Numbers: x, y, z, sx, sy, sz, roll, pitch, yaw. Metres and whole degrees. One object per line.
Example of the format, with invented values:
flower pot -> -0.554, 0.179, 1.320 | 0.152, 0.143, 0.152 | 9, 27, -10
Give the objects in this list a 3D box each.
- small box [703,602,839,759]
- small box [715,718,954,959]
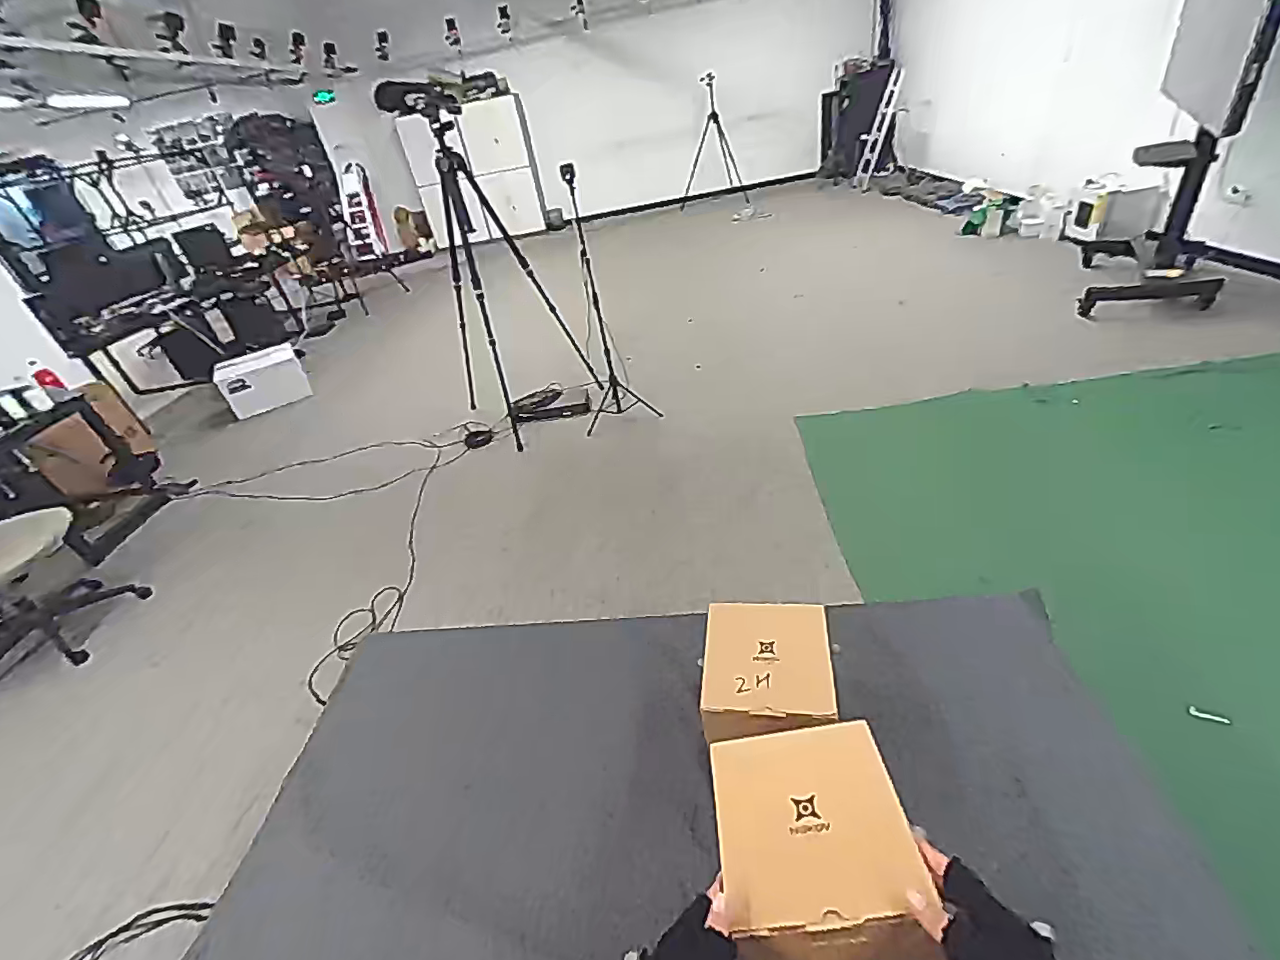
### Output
small box -> 0.186, 0.297, 0.770 | 0.168, 0.176, 0.179 | -3, 36, 15
small box -> 0.174, 0.366, 0.516 | 0.168, 0.176, 0.179 | -14, 25, 8
